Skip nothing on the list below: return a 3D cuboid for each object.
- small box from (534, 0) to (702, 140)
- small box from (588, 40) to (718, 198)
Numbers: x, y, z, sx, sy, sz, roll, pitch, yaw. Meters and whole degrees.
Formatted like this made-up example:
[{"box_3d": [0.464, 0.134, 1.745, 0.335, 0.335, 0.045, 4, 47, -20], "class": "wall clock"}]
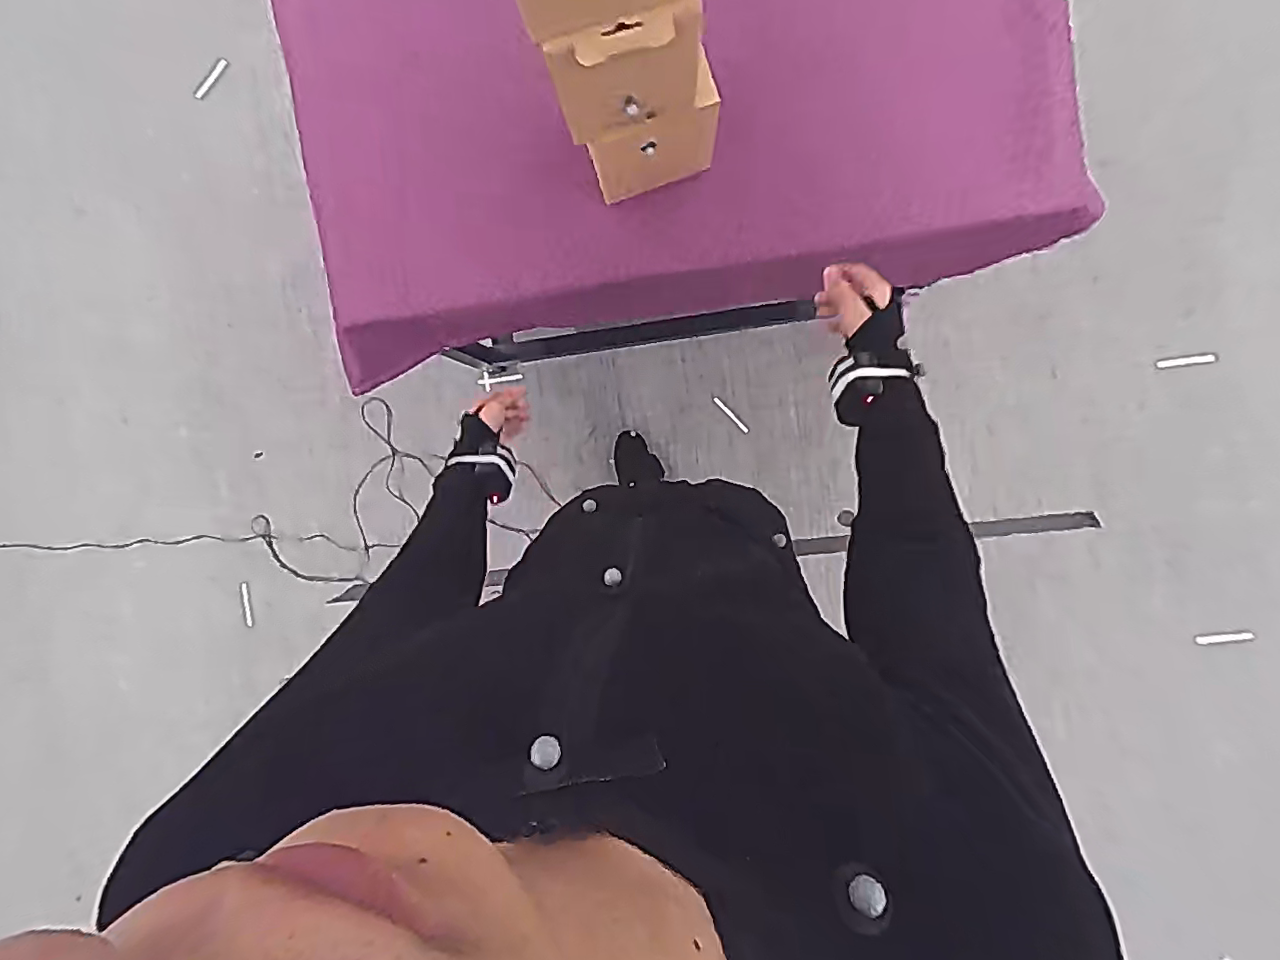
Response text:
[{"box_3d": [-0.030, -0.536, 0.615, 0.168, 0.176, 0.179, -13, 92, 5], "class": "small box"}, {"box_3d": [0.001, -0.542, 0.778, 0.179, 0.176, 0.168, -18, 92, 3], "class": "small box"}]
